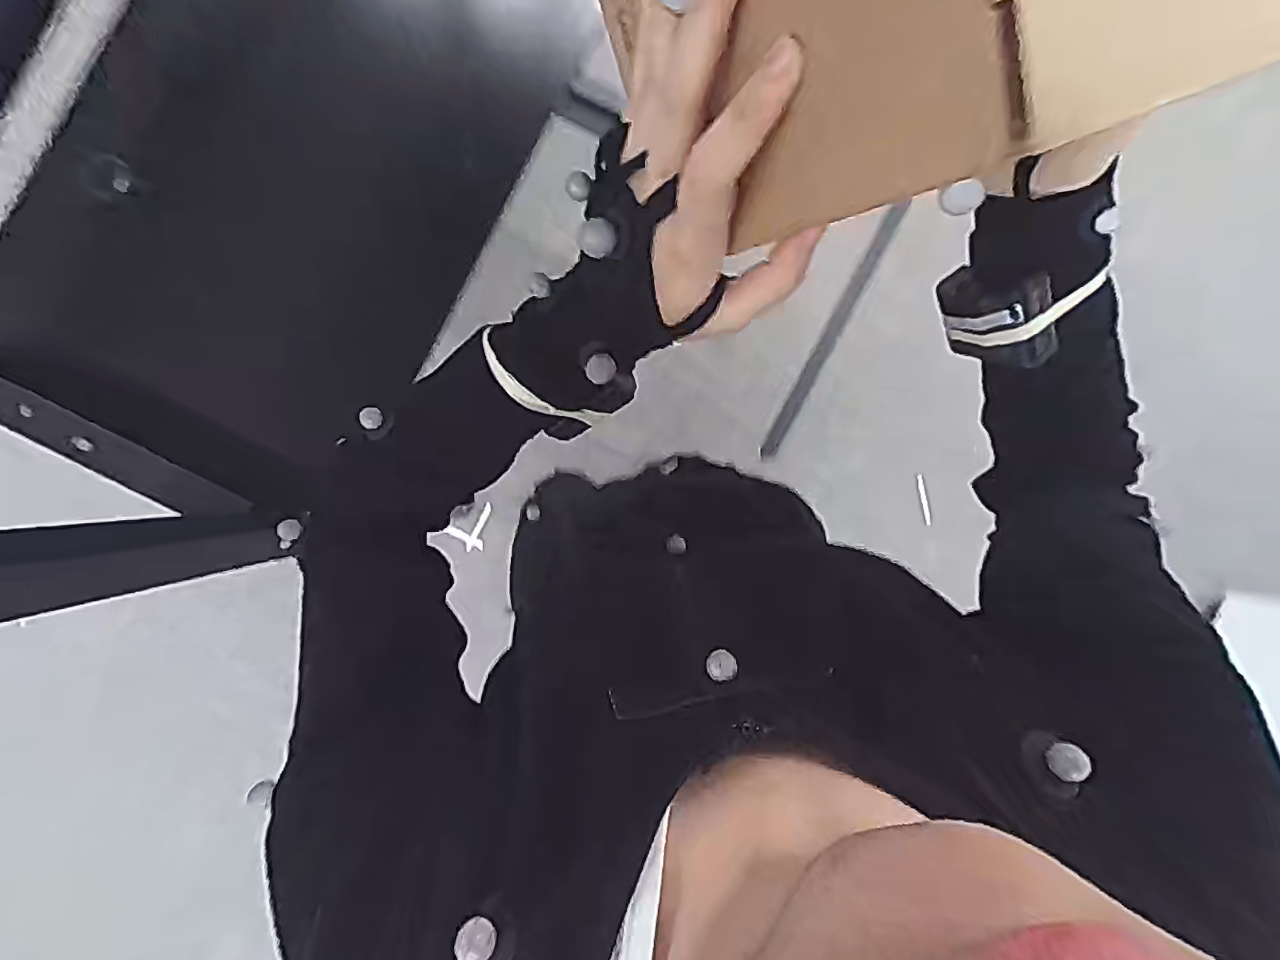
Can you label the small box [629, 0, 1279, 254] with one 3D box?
[{"bbox_3d":[0.102,-0.198,0.196,0.179,0.176,0.168,-24,110,-14],"label":"small box"}]
